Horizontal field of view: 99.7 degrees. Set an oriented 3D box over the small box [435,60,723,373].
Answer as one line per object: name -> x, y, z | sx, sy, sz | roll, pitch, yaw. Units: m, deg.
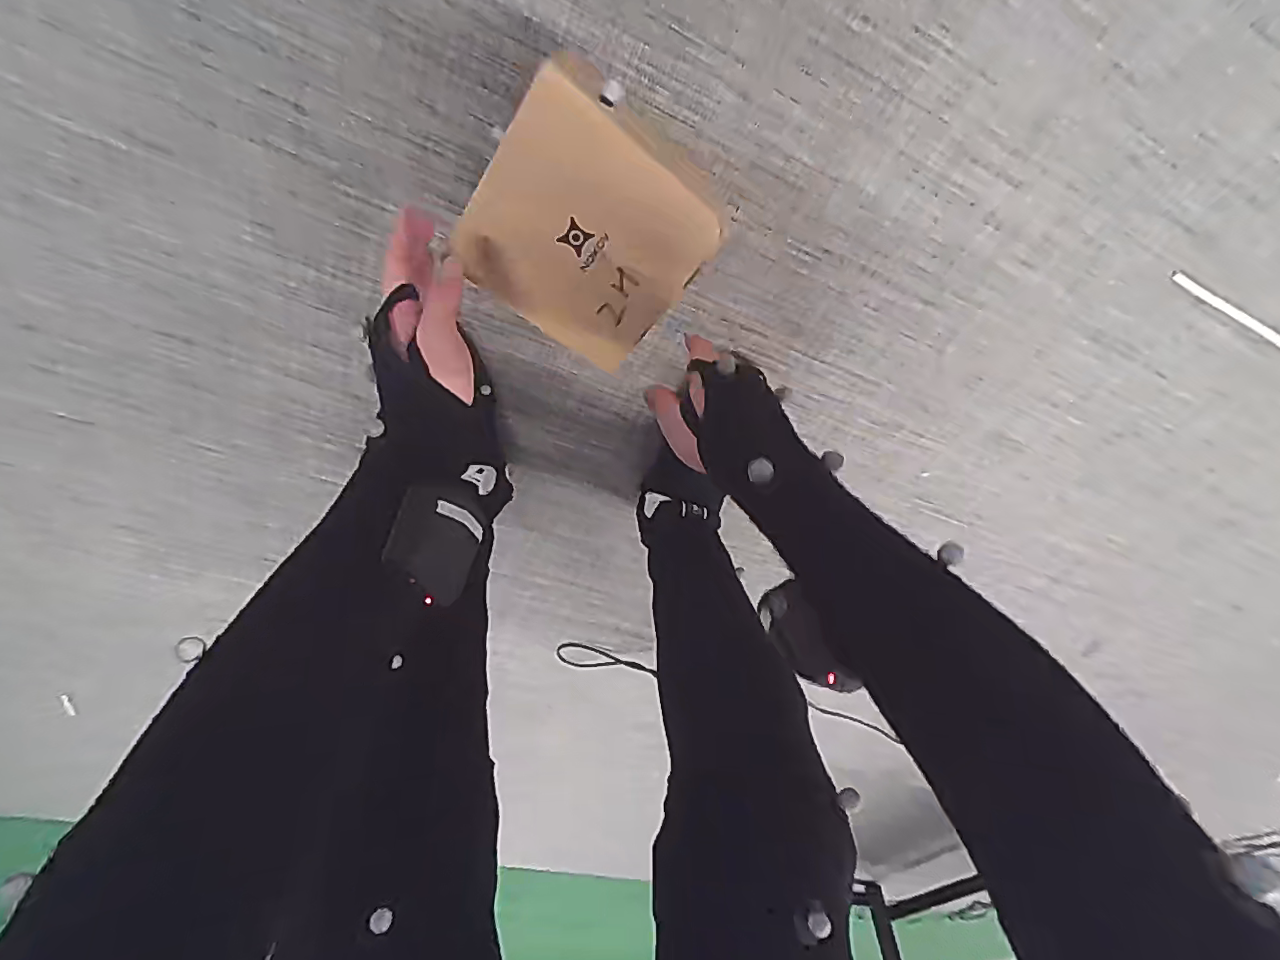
small box -> -0.050, -0.240, 0.497 | 0.179, 0.176, 0.168 | 36, 121, -28
